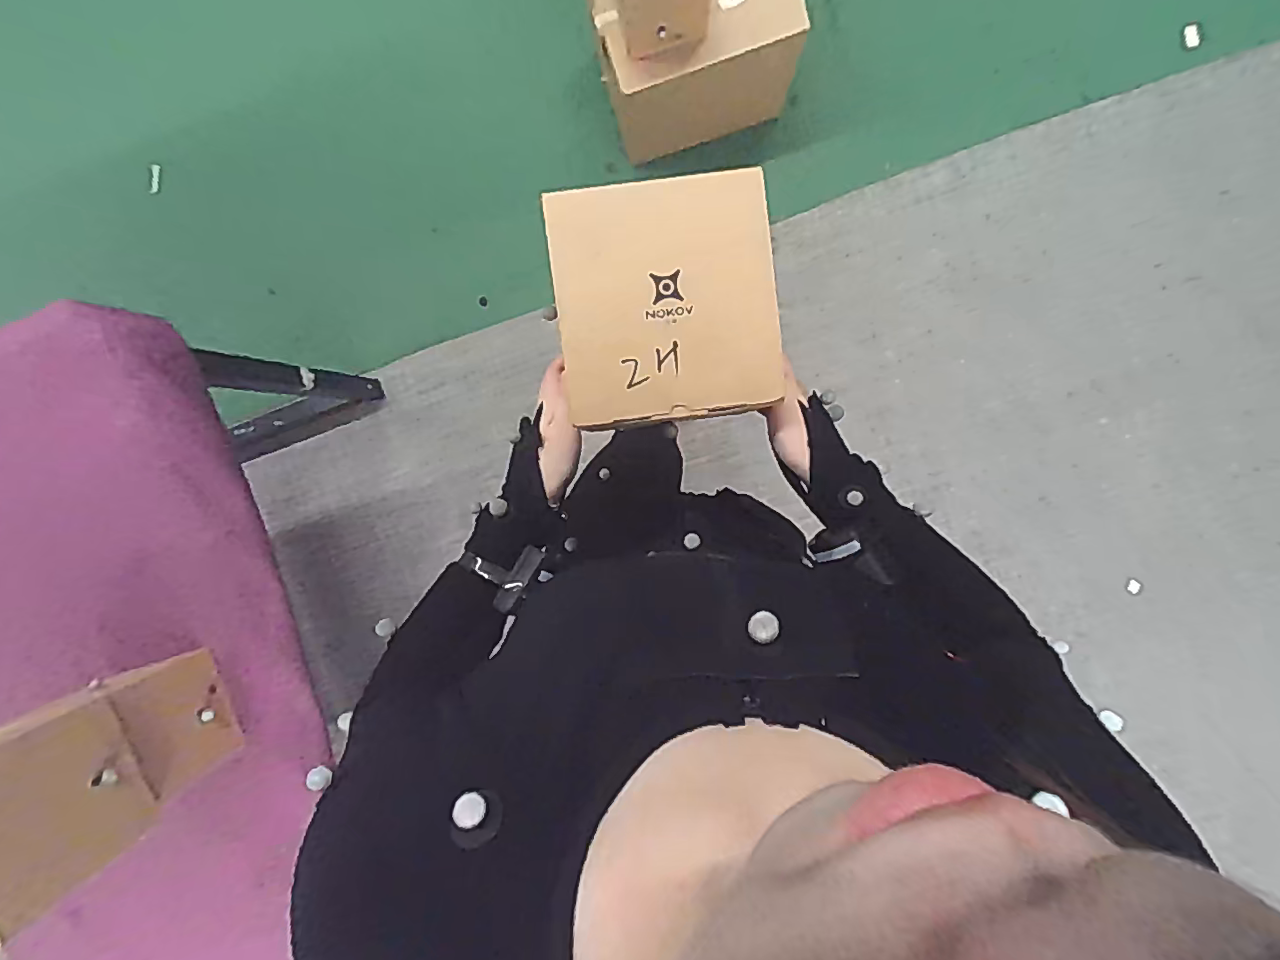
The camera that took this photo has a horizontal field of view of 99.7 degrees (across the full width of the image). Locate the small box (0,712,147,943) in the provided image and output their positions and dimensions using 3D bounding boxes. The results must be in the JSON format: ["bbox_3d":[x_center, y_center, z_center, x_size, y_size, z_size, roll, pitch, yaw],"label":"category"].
[{"bbox_3d":[-0.692,0.371,0.567,0.168,0.176,0.179,-21,94,4],"label":"small box"}]

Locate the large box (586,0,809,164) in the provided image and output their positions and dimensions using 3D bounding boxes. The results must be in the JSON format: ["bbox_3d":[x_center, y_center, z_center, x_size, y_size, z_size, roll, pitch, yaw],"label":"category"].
[{"bbox_3d":[0.114,-1.008,1.235,0.408,0.320,0.320,-17,95,3],"label":"large box"}]

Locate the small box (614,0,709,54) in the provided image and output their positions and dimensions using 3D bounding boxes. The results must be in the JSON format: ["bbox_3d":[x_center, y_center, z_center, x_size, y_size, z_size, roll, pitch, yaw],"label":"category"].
[{"bbox_3d":[0.029,-0.951,0.999,0.168,0.176,0.179,-15,95,3],"label":"small box"}]

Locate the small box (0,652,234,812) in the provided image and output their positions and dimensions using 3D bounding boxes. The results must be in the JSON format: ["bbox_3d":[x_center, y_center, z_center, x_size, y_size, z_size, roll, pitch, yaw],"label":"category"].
[{"bbox_3d":[-0.712,0.358,0.731,0.179,0.176,0.168,-17,94,4],"label":"small box"}]
